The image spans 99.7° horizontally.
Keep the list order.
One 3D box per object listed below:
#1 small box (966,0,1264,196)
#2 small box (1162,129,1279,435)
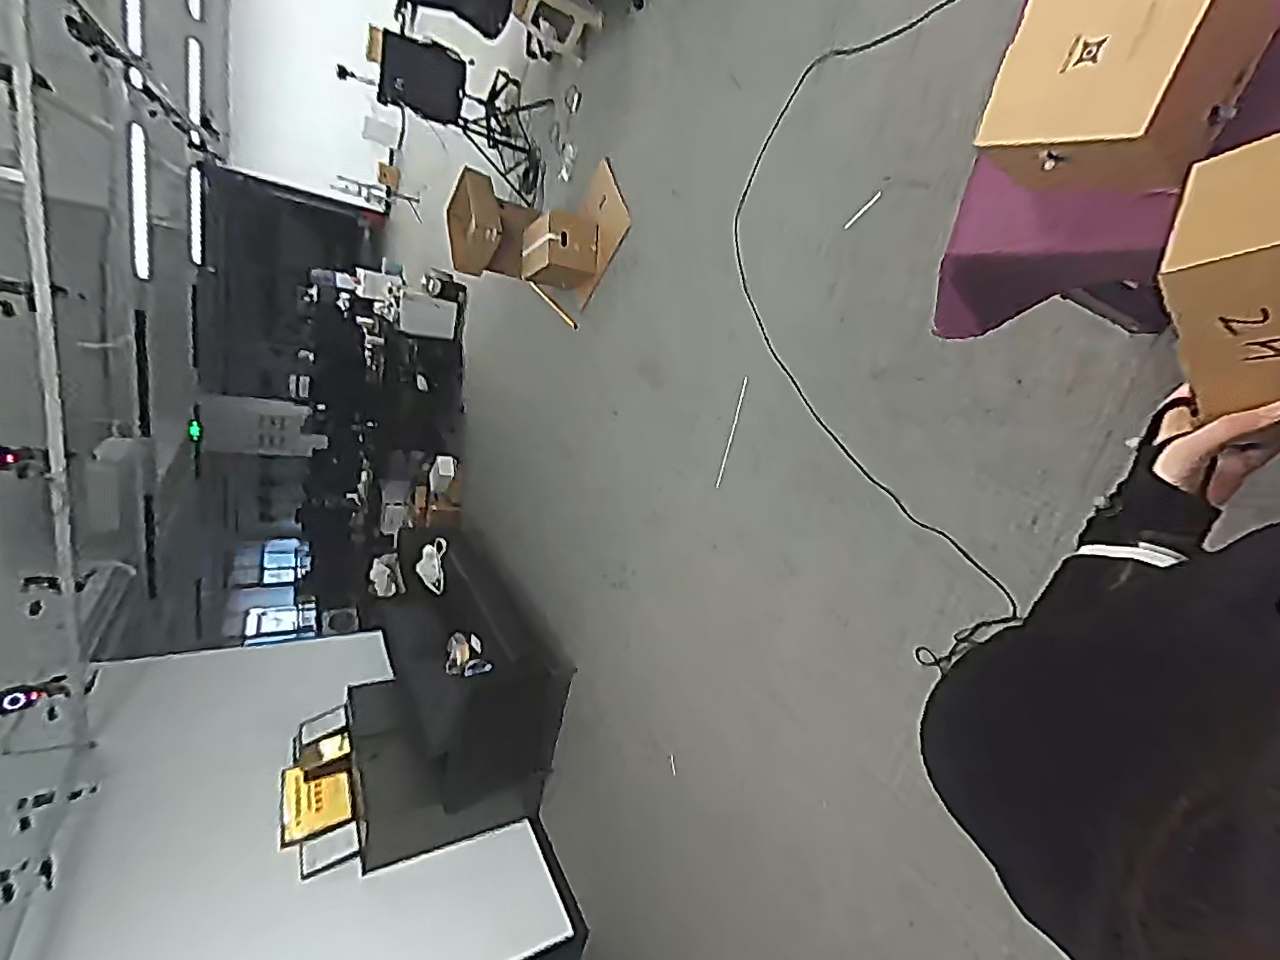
[{"bbox_3d":[0.523,-0.434,0.606,0.179,0.176,0.168,41,122,49],"label":"small box"},{"bbox_3d":[0.507,-0.152,0.373,0.176,0.168,0.179,-50,25,-23],"label":"small box"}]
